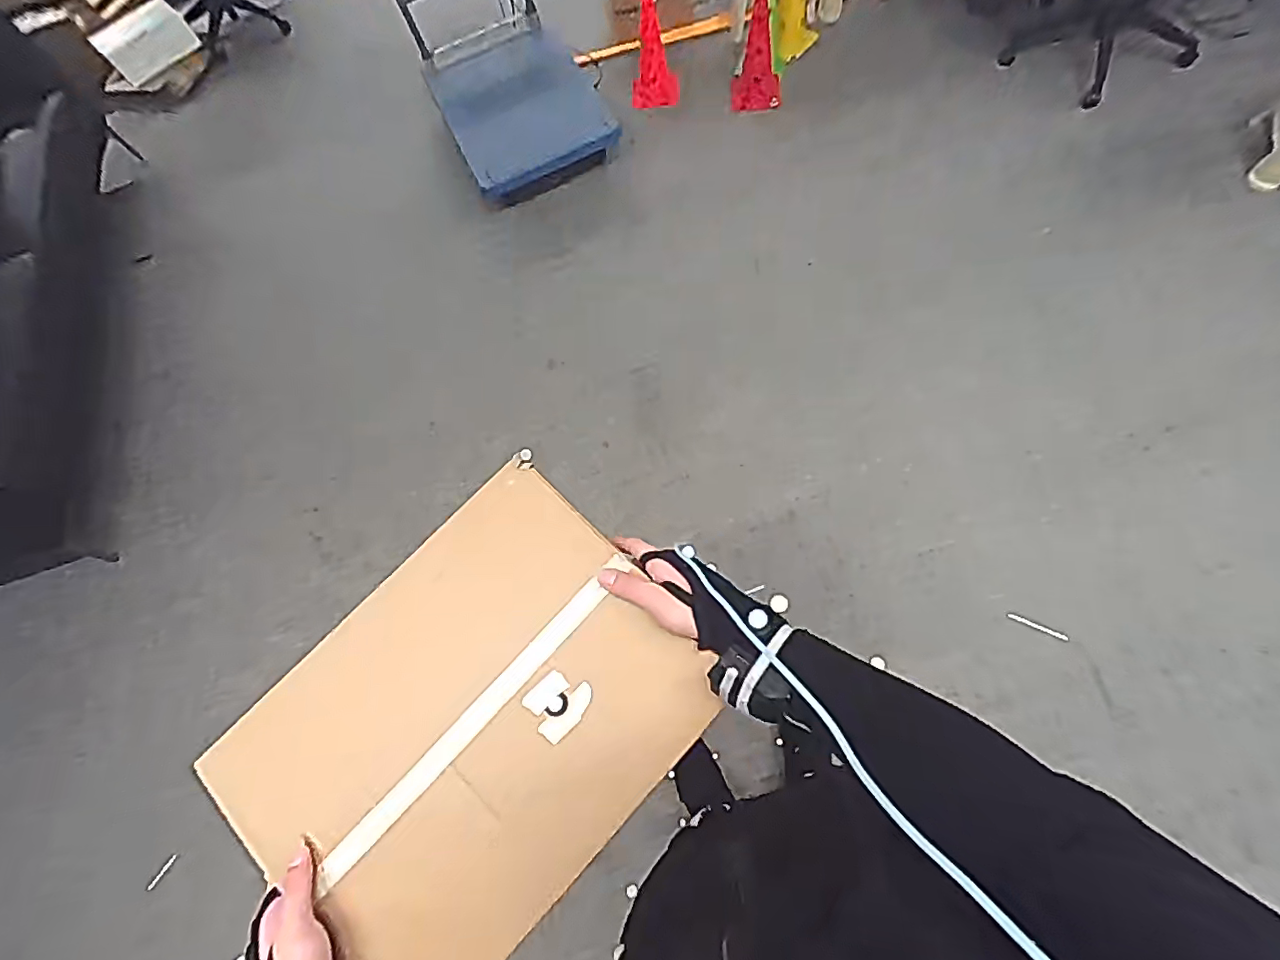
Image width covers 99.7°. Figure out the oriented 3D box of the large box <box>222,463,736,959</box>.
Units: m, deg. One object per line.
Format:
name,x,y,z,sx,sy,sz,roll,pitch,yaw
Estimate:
large box,-0.145,0.259,0.648,0.320,0.320,0.408,42,80,11
